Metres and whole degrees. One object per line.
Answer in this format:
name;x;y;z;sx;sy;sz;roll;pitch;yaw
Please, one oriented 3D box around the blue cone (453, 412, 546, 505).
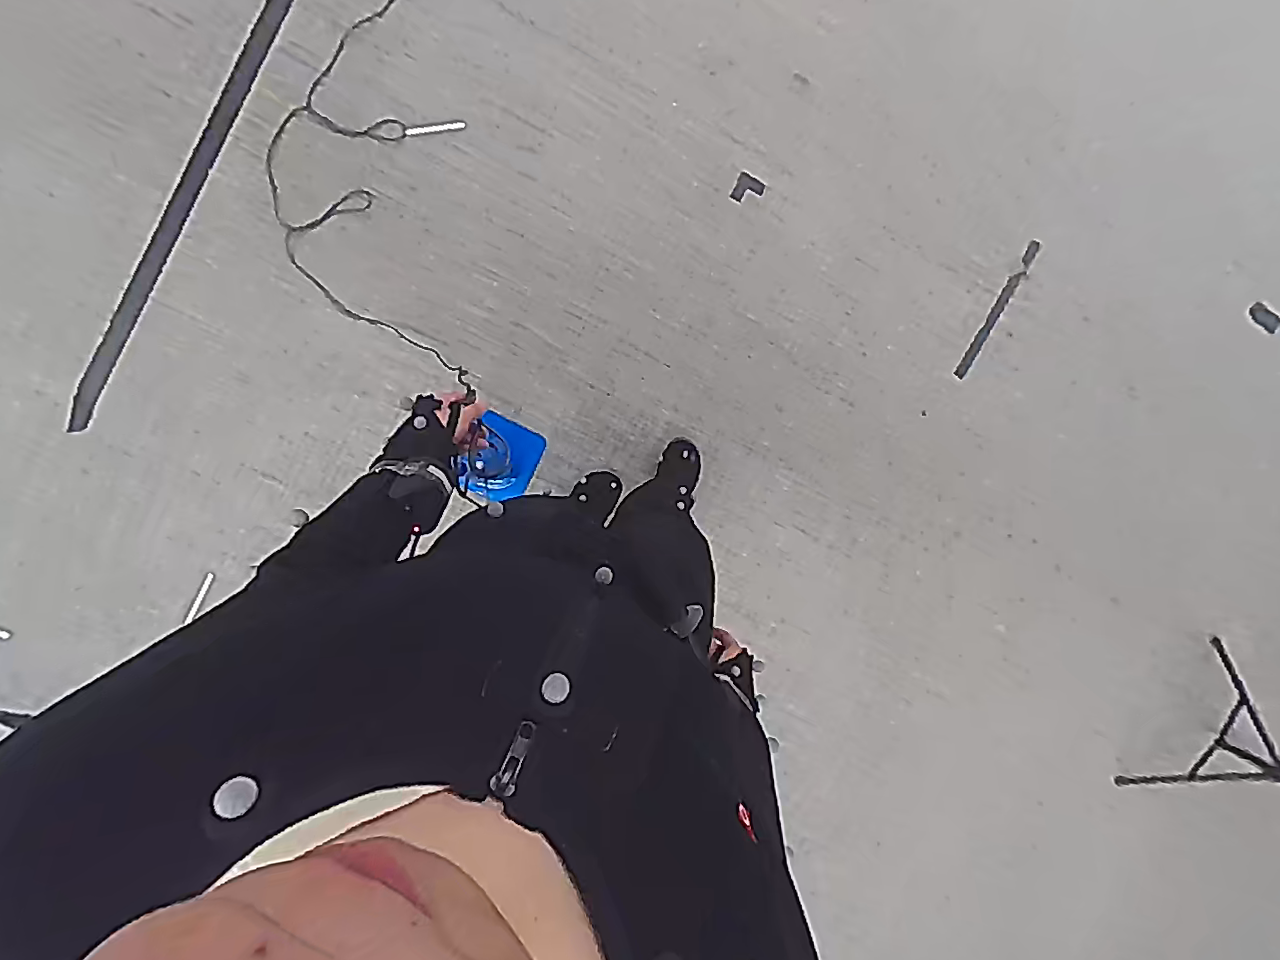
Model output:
blue cone;-0.332;-0.037;1.164;0.192;0.380;0.193;28;93;-7
